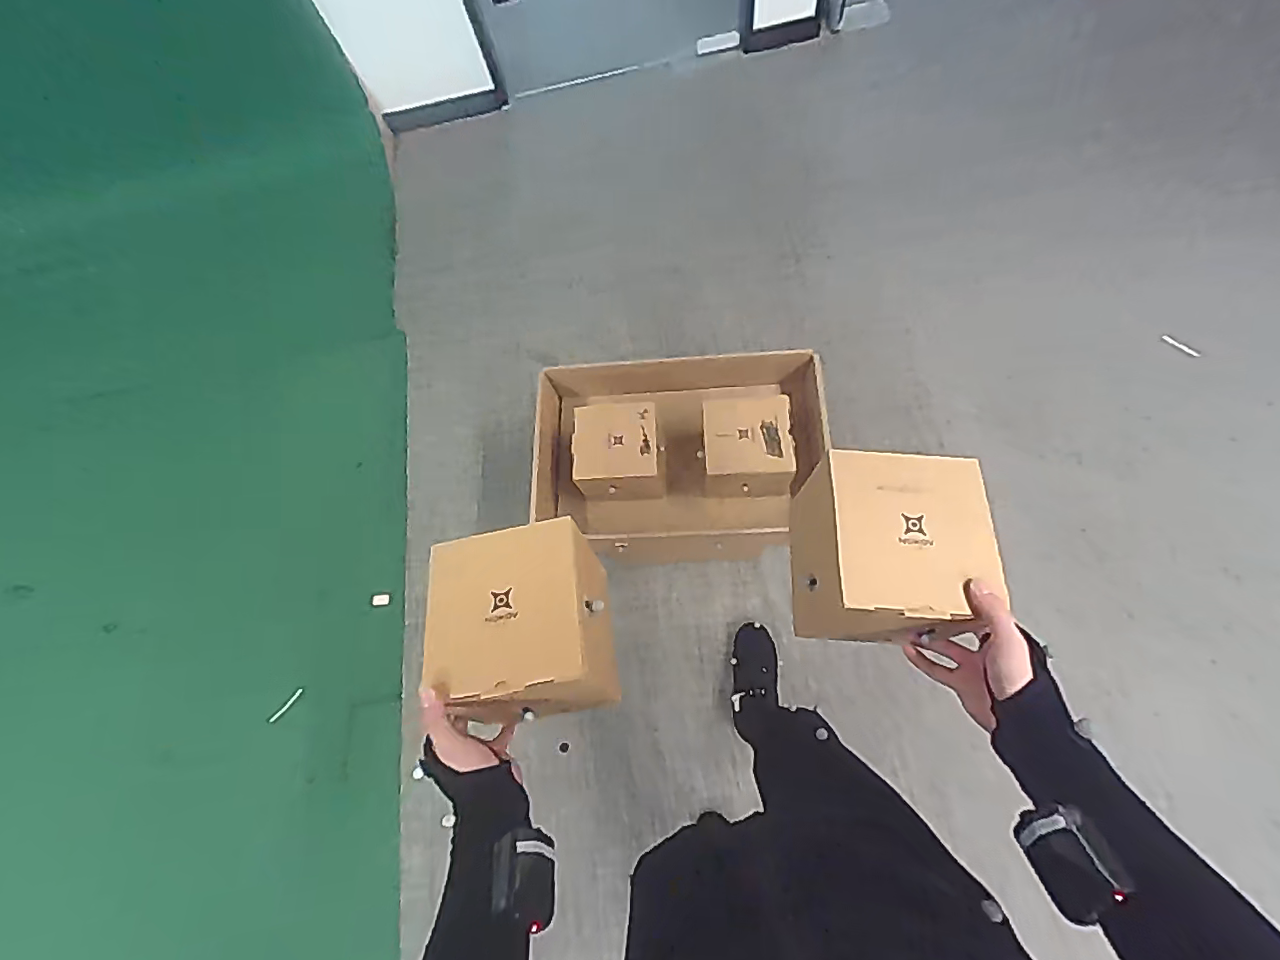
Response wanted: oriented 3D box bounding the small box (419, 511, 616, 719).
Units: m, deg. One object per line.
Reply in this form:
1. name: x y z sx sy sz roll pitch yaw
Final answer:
1. small box: -0.129 0.161 0.621 0.168 0.176 0.179 -11 59 4

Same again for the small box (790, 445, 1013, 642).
1. small box: 0.275 0.081 0.615 0.168 0.176 0.179 5 64 1

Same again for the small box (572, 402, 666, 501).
1. small box: -0.040 -0.055 1.176 0.179 0.176 0.168 -2 71 7
